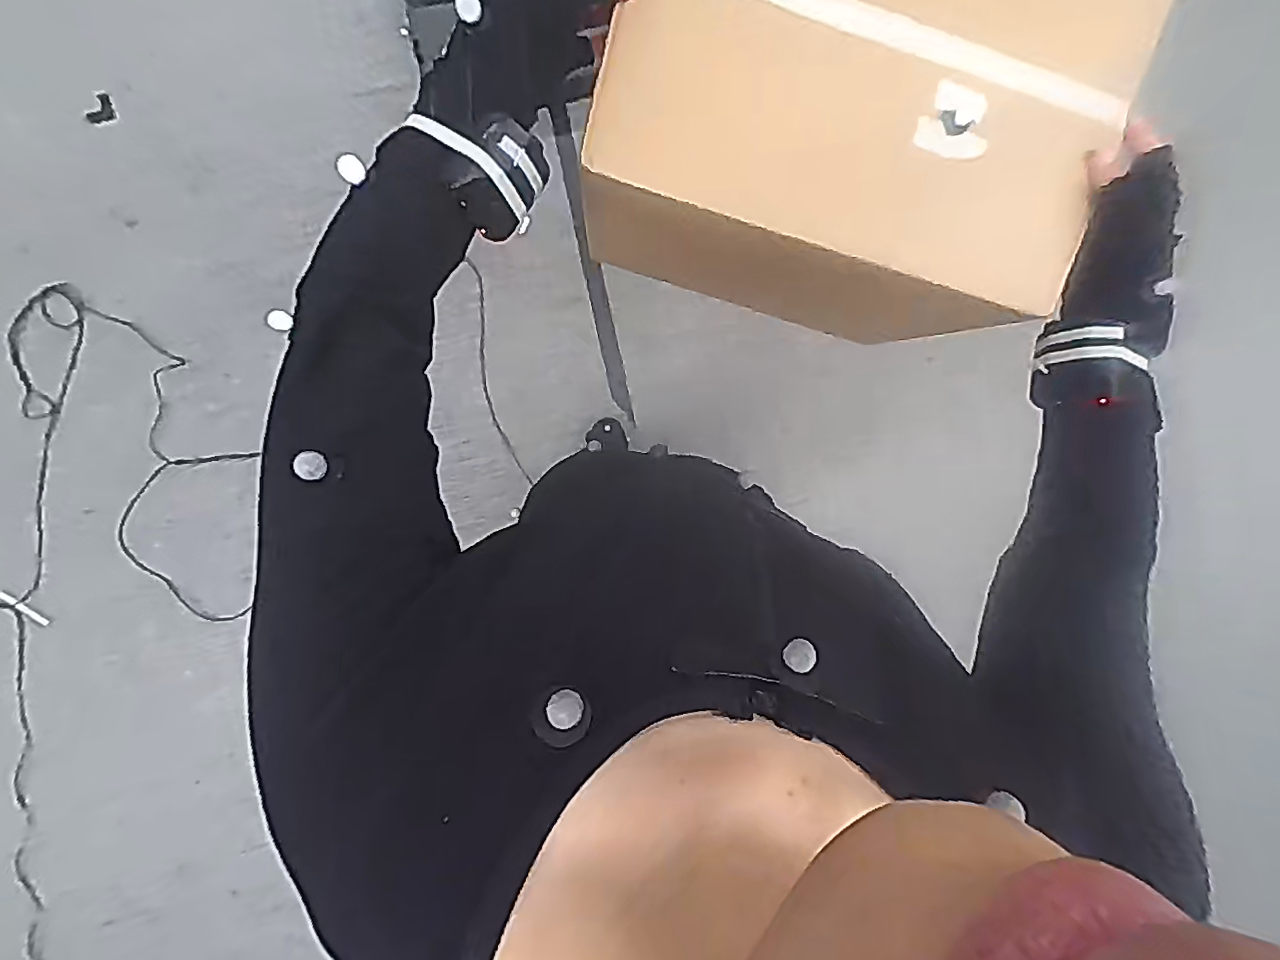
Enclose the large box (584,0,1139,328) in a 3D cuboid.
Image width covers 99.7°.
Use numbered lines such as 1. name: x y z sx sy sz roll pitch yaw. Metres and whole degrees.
1. large box: 0.168 -0.373 0.562 0.408 0.320 0.320 14 99 -7
